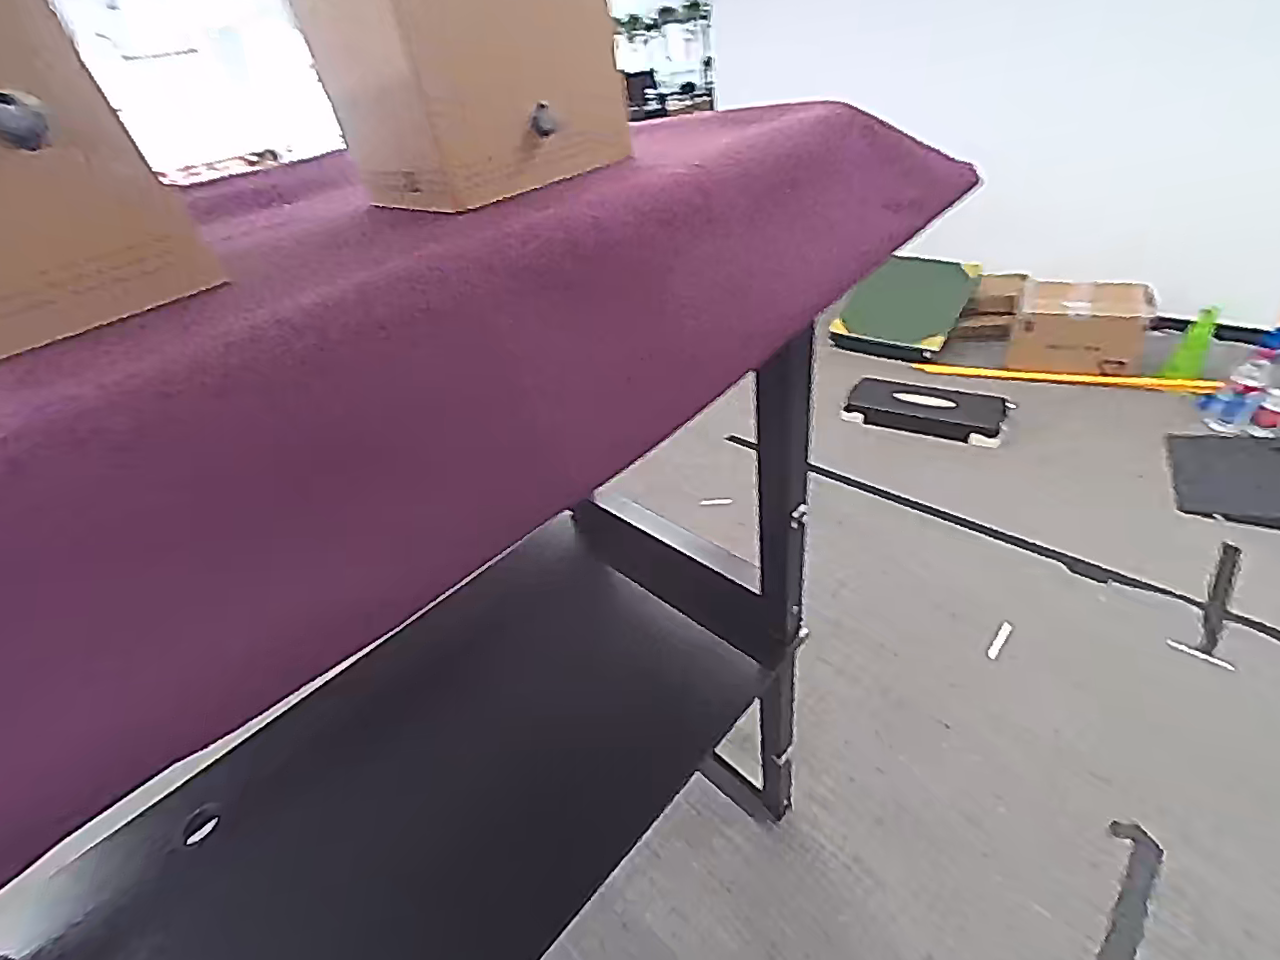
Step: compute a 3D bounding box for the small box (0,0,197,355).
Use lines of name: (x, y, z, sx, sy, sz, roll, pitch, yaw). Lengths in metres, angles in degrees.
small box: (-0.372, -0.157, 0.271, 0.168, 0.176, 0.179, 20, 48, 35)

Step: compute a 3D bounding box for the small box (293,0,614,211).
small box: (-0.136, -0.323, 0.418, 0.168, 0.176, 0.179, 26, 50, 39)
